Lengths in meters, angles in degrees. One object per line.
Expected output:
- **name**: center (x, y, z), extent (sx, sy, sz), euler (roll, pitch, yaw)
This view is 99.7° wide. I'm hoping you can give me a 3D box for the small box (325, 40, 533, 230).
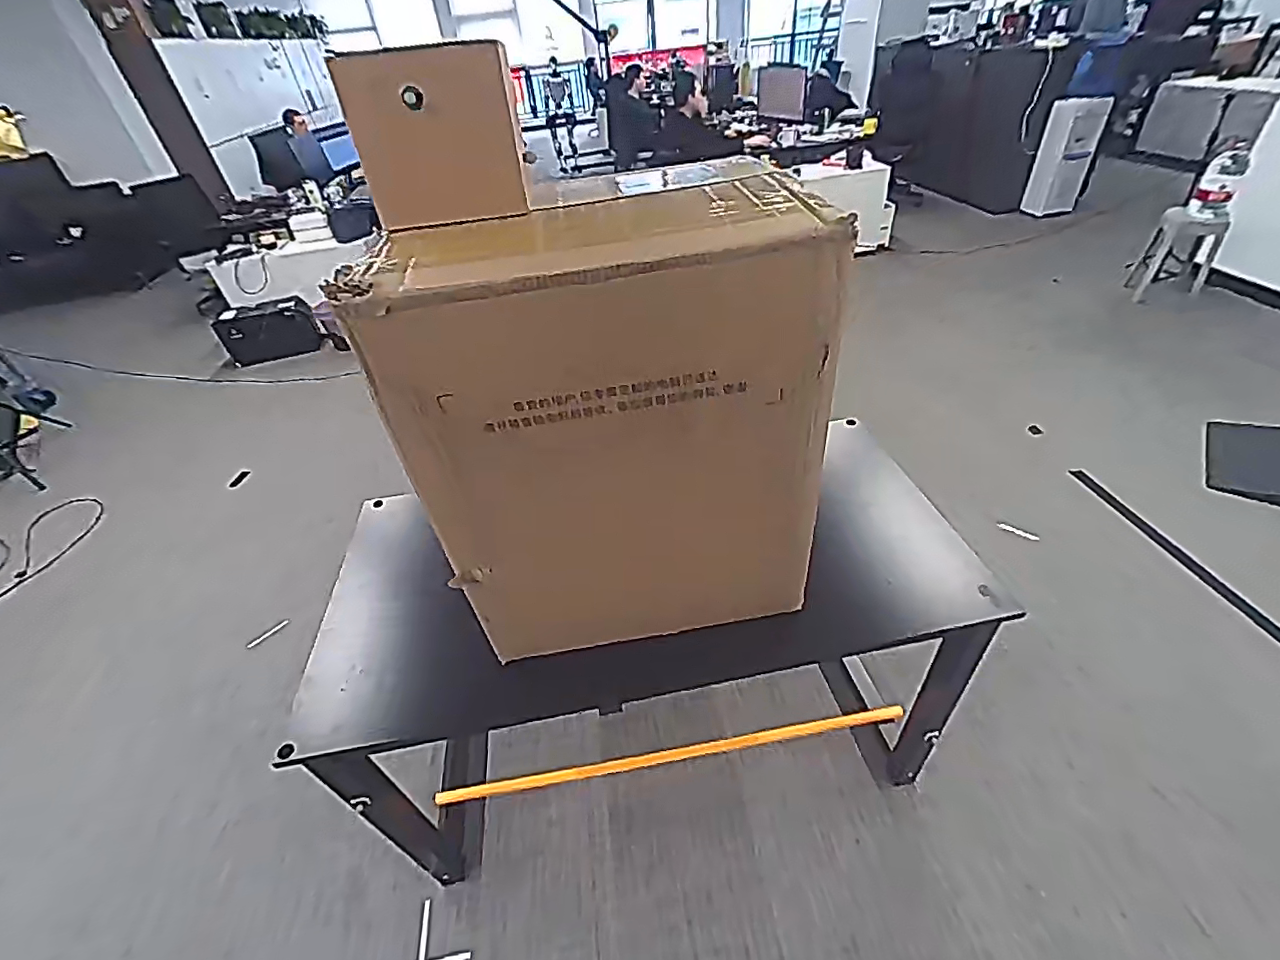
- **small box**: center (-0.236, -0.415, 0.660), extent (0.179, 0.176, 0.168), euler (-8, 38, -4)
